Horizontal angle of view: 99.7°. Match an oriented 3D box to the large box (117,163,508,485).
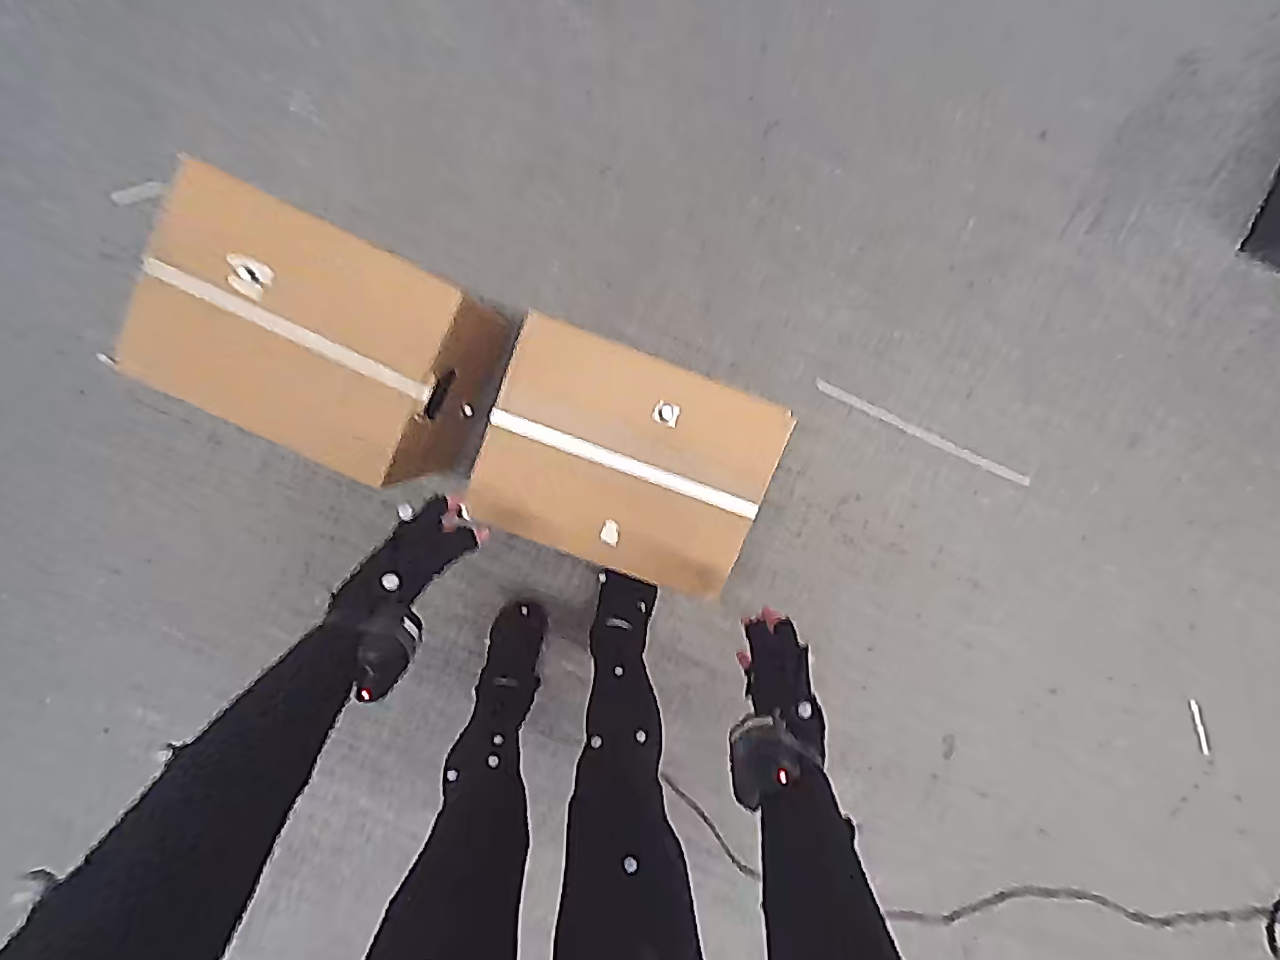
[{"bbox_3d":[-0.489,-0.226,0.894,0.408,0.320,0.320,25,96,-3],"label":"large box"}]
